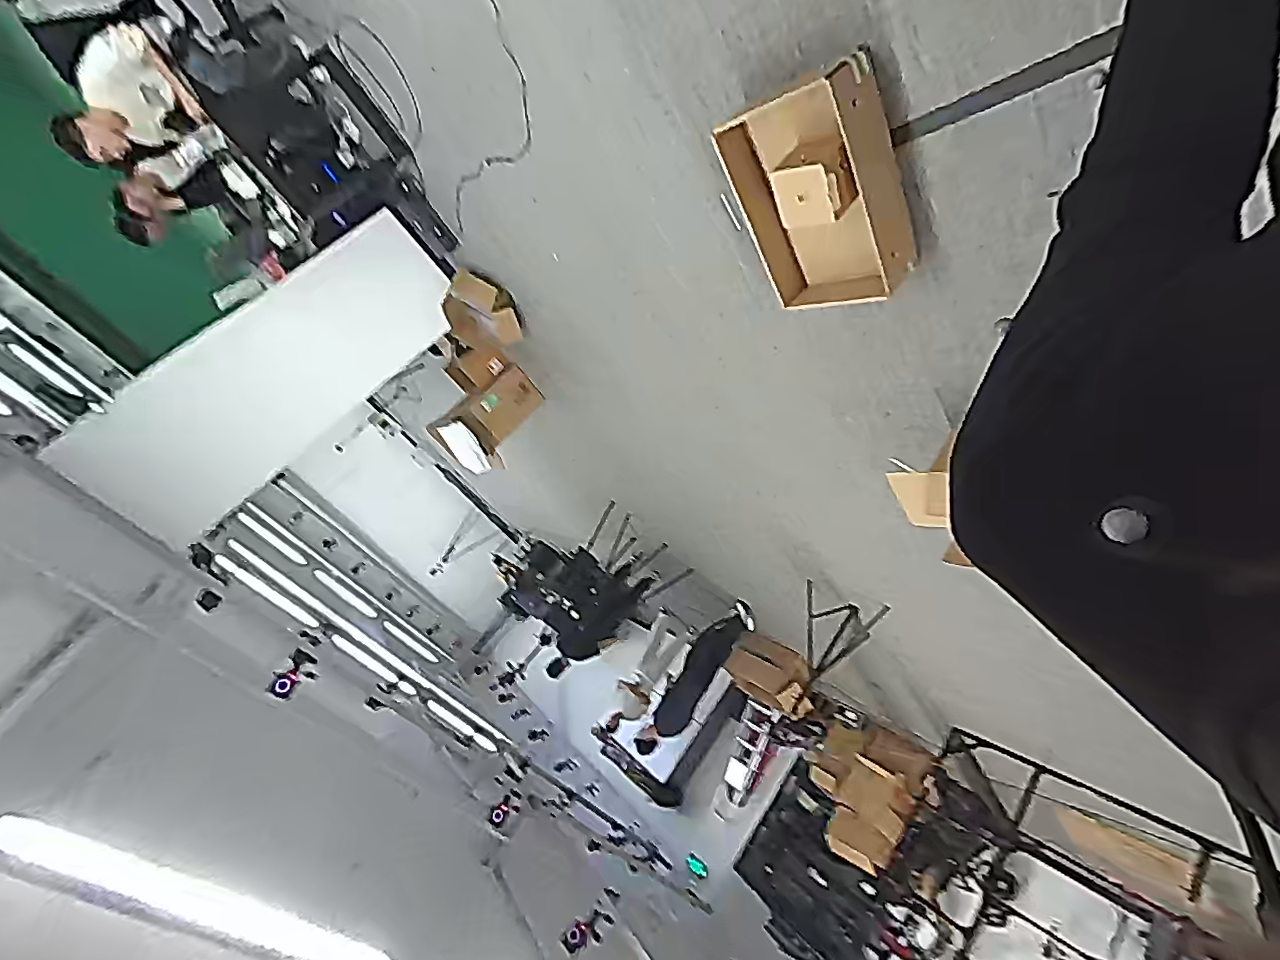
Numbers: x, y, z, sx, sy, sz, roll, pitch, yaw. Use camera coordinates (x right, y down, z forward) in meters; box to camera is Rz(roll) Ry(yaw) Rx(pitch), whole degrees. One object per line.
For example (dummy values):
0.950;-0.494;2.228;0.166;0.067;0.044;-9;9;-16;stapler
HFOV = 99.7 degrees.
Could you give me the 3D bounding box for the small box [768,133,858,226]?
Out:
0.498;-0.848;1.531;0.179;0.176;0.168;20;152;44;small box
